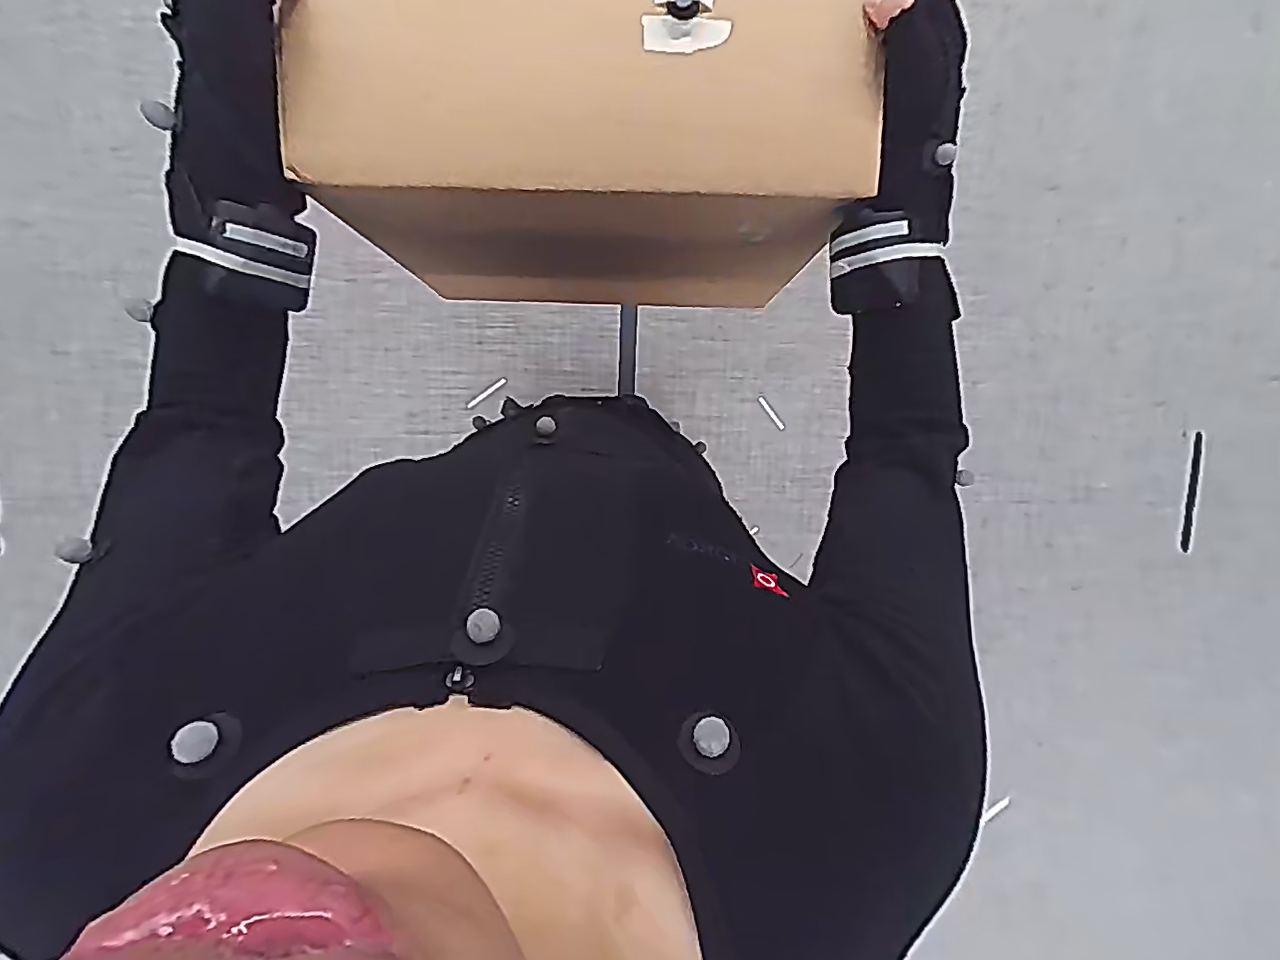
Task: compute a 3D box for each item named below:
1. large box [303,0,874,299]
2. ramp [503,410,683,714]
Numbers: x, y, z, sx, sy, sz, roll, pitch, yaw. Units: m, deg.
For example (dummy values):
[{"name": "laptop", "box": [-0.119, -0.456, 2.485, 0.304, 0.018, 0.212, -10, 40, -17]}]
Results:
[{"name": "large box", "box": [-0.038, -0.371, 0.522, 0.408, 0.320, 0.320, 1, 95, -2]}, {"name": "ramp", "box": [-0.132, 0.285, 1.614, 0.509, 0.206, 0.991, -1, 98, -3]}]
